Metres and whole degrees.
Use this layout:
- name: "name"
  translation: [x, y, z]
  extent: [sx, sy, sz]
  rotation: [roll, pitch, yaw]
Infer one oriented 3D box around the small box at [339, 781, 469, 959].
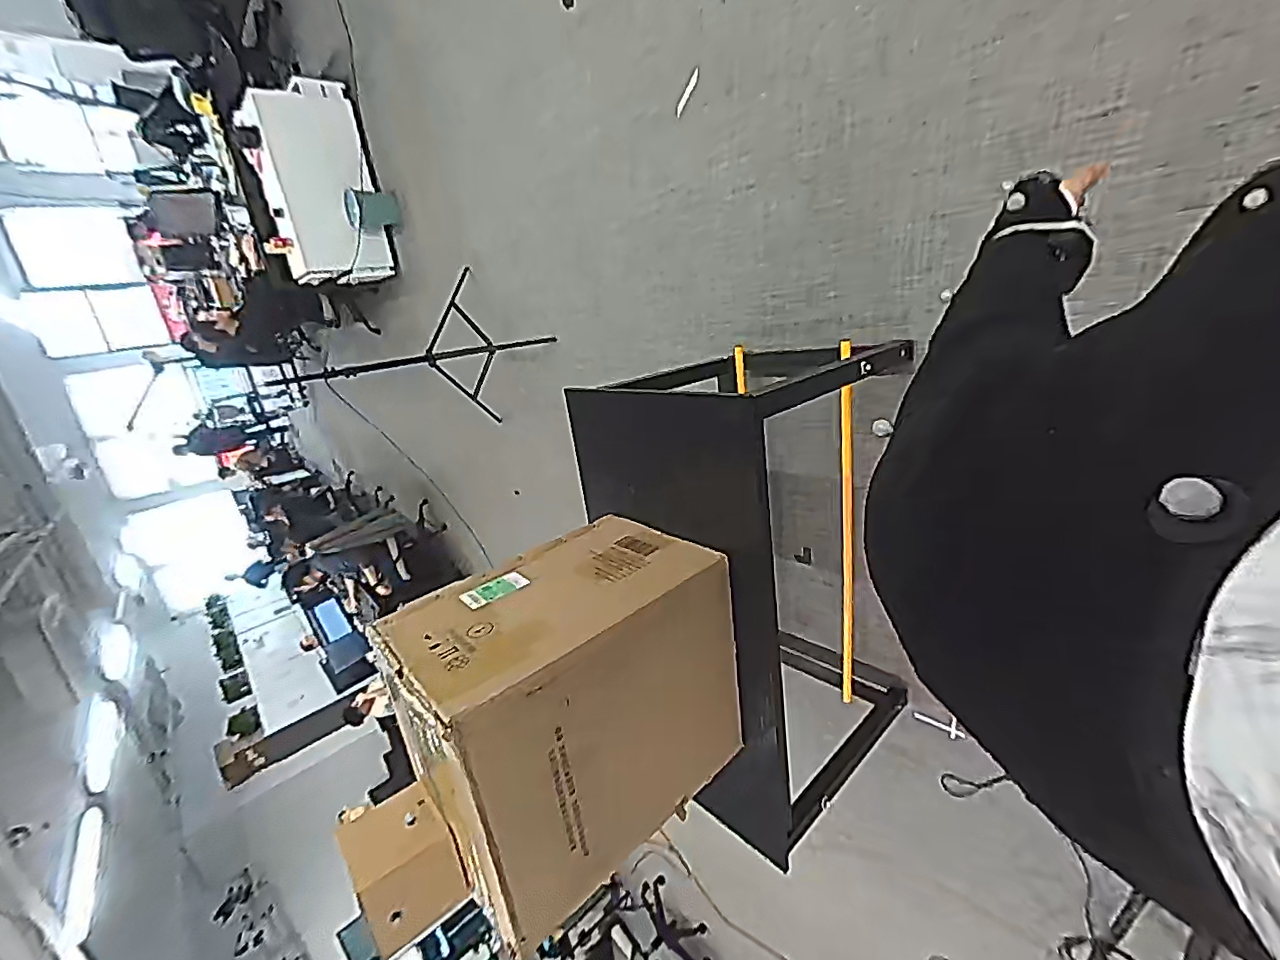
- name: "small box"
  translation: [-0.443, 0.728, 1.028]
  extent: [0.168, 0.176, 0.179]
  rotation: [15, 118, 49]
